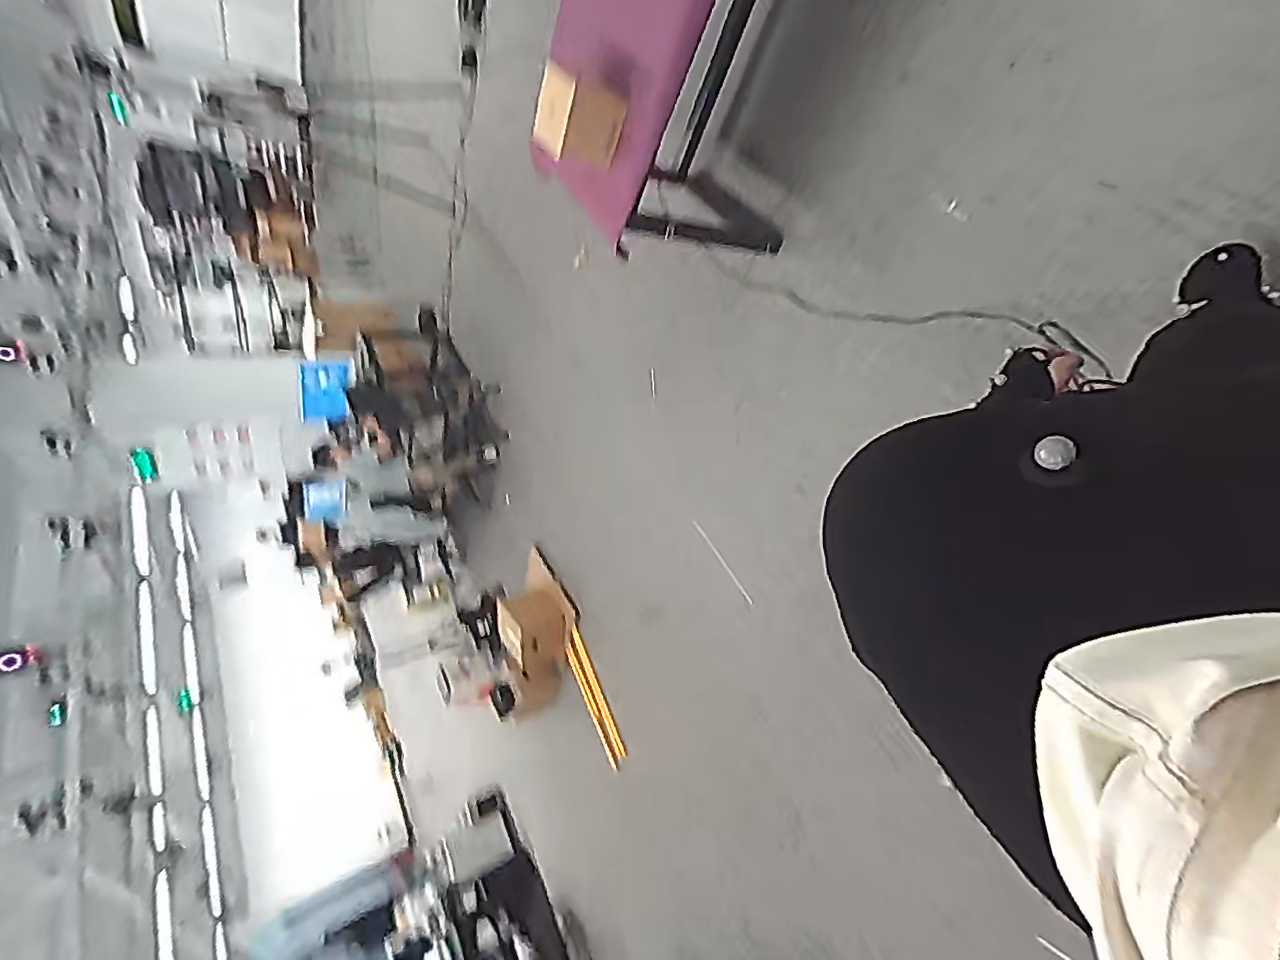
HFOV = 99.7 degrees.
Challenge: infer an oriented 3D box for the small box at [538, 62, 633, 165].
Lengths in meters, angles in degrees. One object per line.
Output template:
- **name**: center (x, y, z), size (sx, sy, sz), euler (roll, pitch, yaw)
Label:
- **small box**: center (-0.148, -0.974, 1.449), size (0.179, 0.176, 0.168), euler (55, 138, 29)
